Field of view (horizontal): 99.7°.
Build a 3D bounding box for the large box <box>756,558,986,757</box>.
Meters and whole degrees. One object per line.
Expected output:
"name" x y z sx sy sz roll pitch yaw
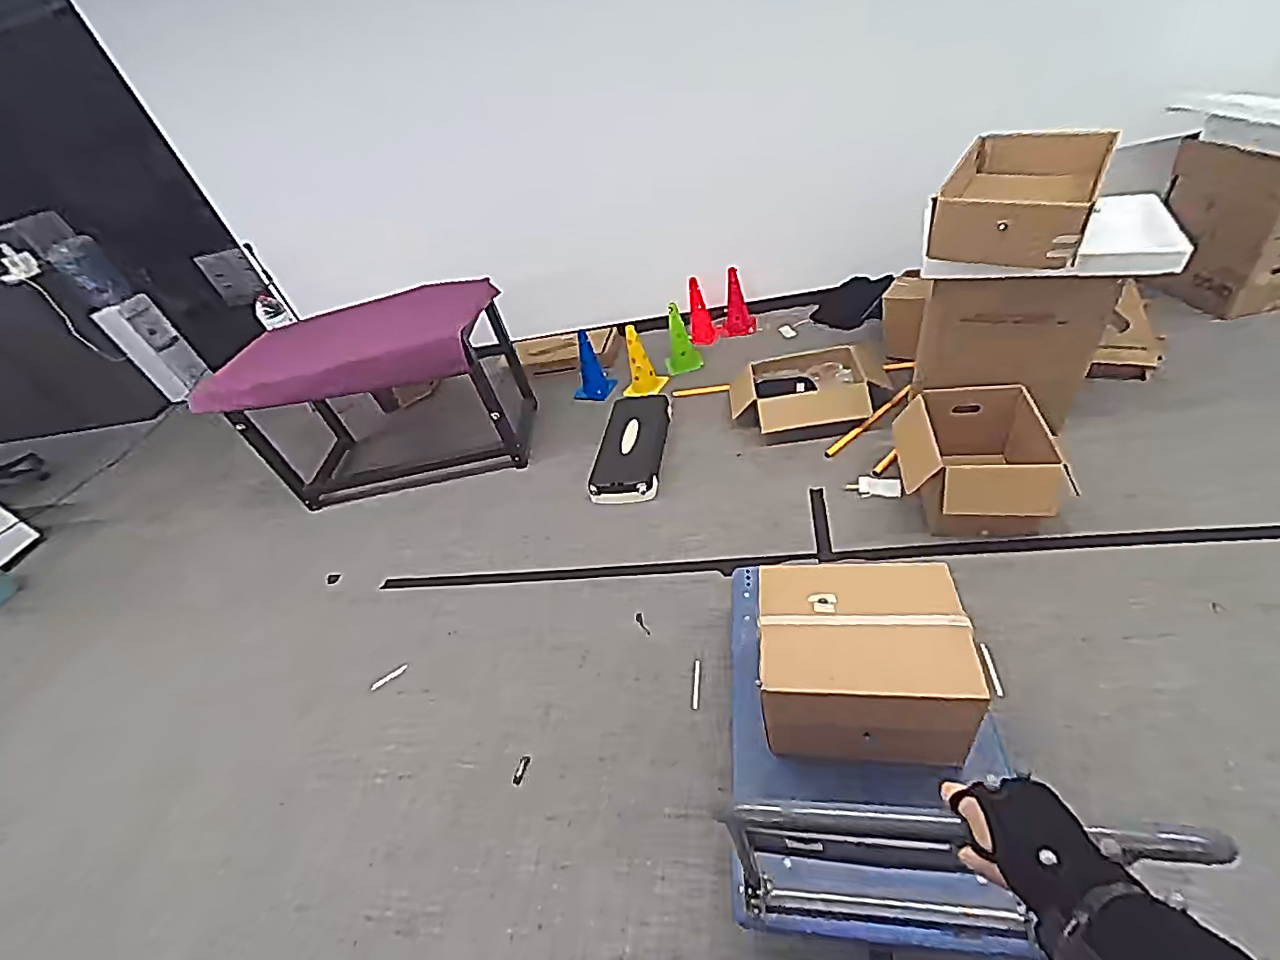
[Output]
"large box" 0.481 0.398 1.209 0.408 0.320 0.320 -5 41 16
